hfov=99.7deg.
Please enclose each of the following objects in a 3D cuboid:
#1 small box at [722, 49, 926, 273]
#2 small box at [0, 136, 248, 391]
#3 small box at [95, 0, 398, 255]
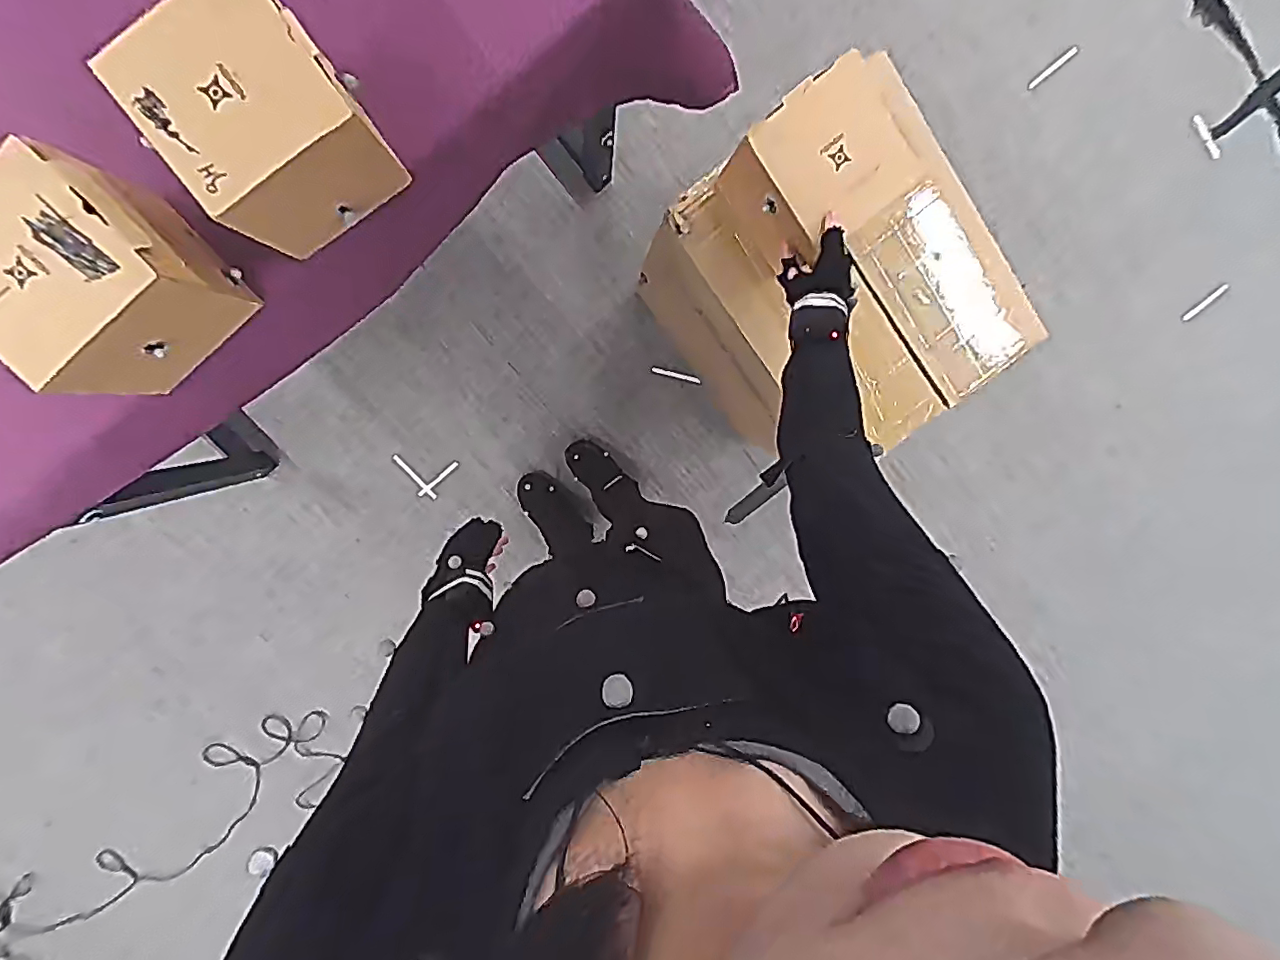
[{"bbox_3d":[0.235,-0.413,0.738,0.168,0.176,0.179,-38,102,4],"label":"small box"},{"bbox_3d":[-0.582,-0.216,0.592,0.179,0.176,0.168,-41,99,3],"label":"small box"},{"bbox_3d":[-0.392,-0.379,0.585,0.179,0.176,0.168,-36,99,0],"label":"small box"}]
